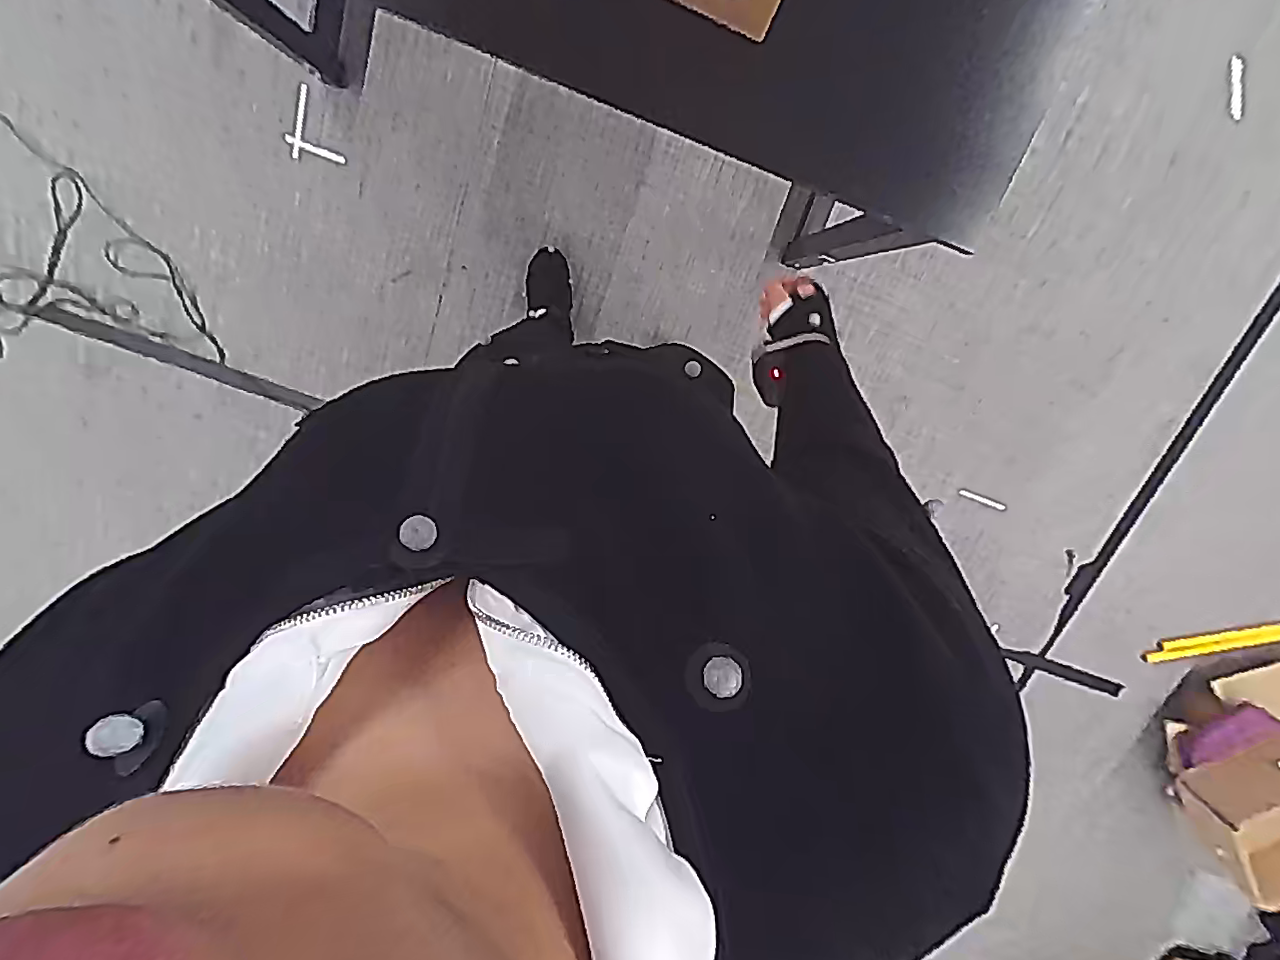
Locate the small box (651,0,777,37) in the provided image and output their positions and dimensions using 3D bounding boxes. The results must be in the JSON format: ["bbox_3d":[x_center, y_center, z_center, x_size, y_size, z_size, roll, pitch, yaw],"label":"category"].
[{"bbox_3d":[0.078,-0.557,0.494,0.179,0.176,0.168,18,104,-7],"label":"small box"}]
